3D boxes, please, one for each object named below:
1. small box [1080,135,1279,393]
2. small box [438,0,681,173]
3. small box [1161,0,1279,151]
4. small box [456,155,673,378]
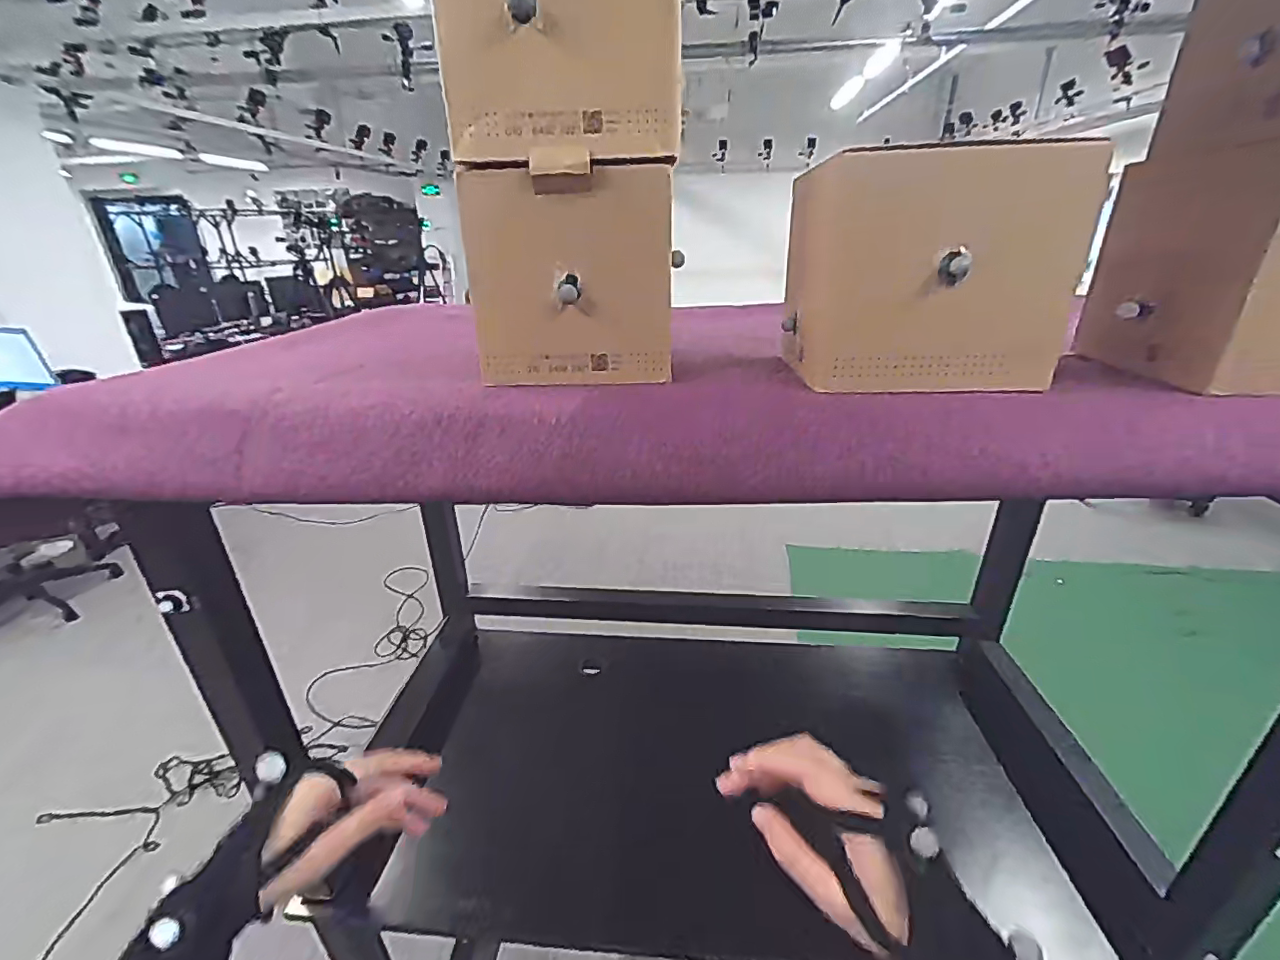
[{"bbox_3d":[0.504,-0.169,0.423,0.179,0.176,0.168,0,24,7],"label":"small box"},{"bbox_3d":[-0.054,-0.342,0.438,0.168,0.176,0.179,-1,22,0],"label":"small box"},{"bbox_3d":[0.499,-0.310,0.336,0.179,0.176,0.168,1,24,6],"label":"small box"},{"bbox_3d":[-0.052,-0.194,0.507,0.168,0.176,0.179,0,24,2],"label":"small box"}]
